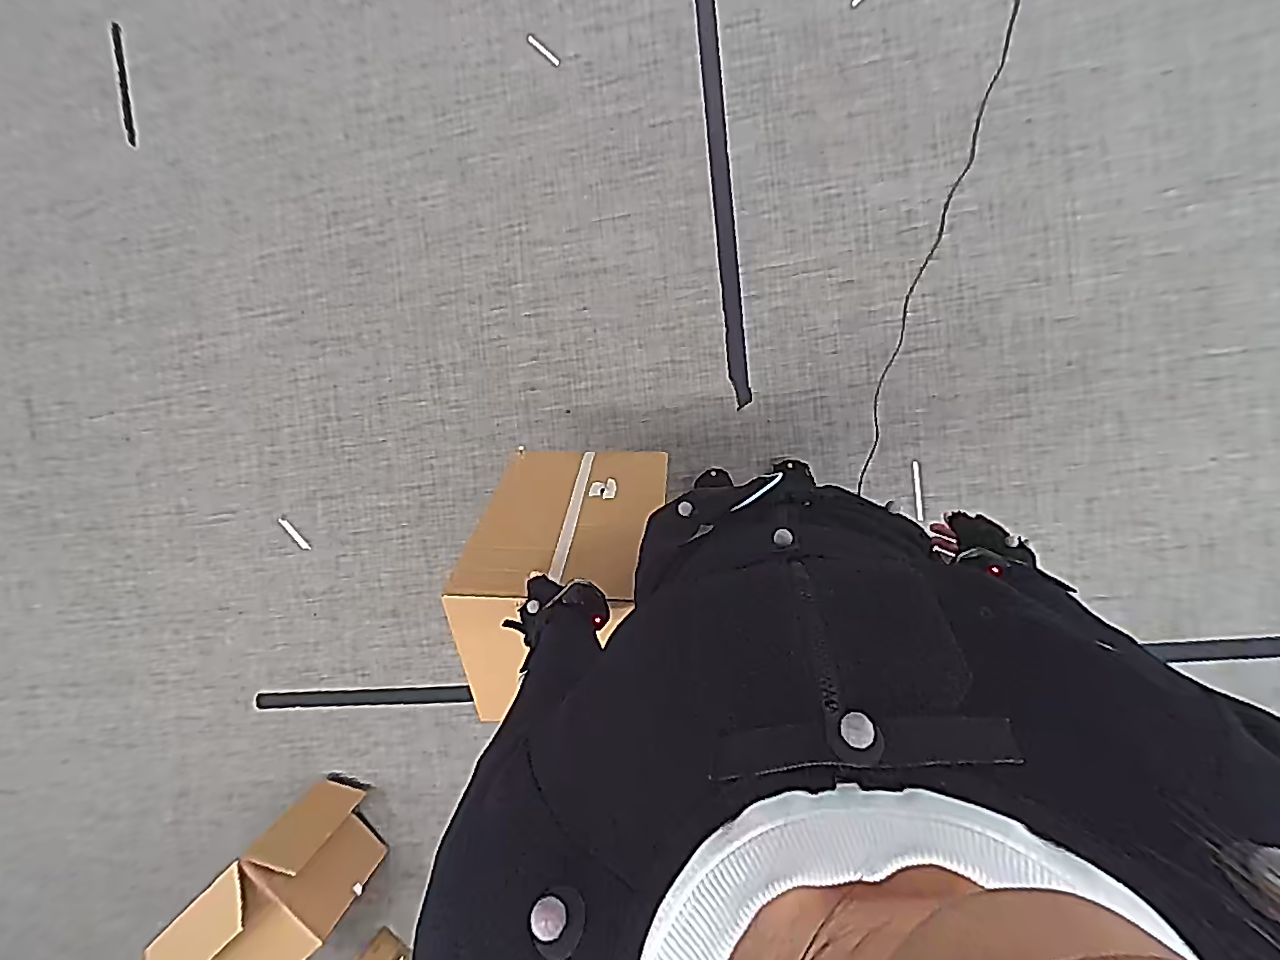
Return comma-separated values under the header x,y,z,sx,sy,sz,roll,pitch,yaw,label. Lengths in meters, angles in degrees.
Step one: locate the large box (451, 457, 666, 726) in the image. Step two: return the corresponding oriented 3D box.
x,y,z,sx,sy,sz,roll,pitch,yaw,label
-0.109,0.191,1.011,0.320,0.408,0.320,2,122,4,large box
